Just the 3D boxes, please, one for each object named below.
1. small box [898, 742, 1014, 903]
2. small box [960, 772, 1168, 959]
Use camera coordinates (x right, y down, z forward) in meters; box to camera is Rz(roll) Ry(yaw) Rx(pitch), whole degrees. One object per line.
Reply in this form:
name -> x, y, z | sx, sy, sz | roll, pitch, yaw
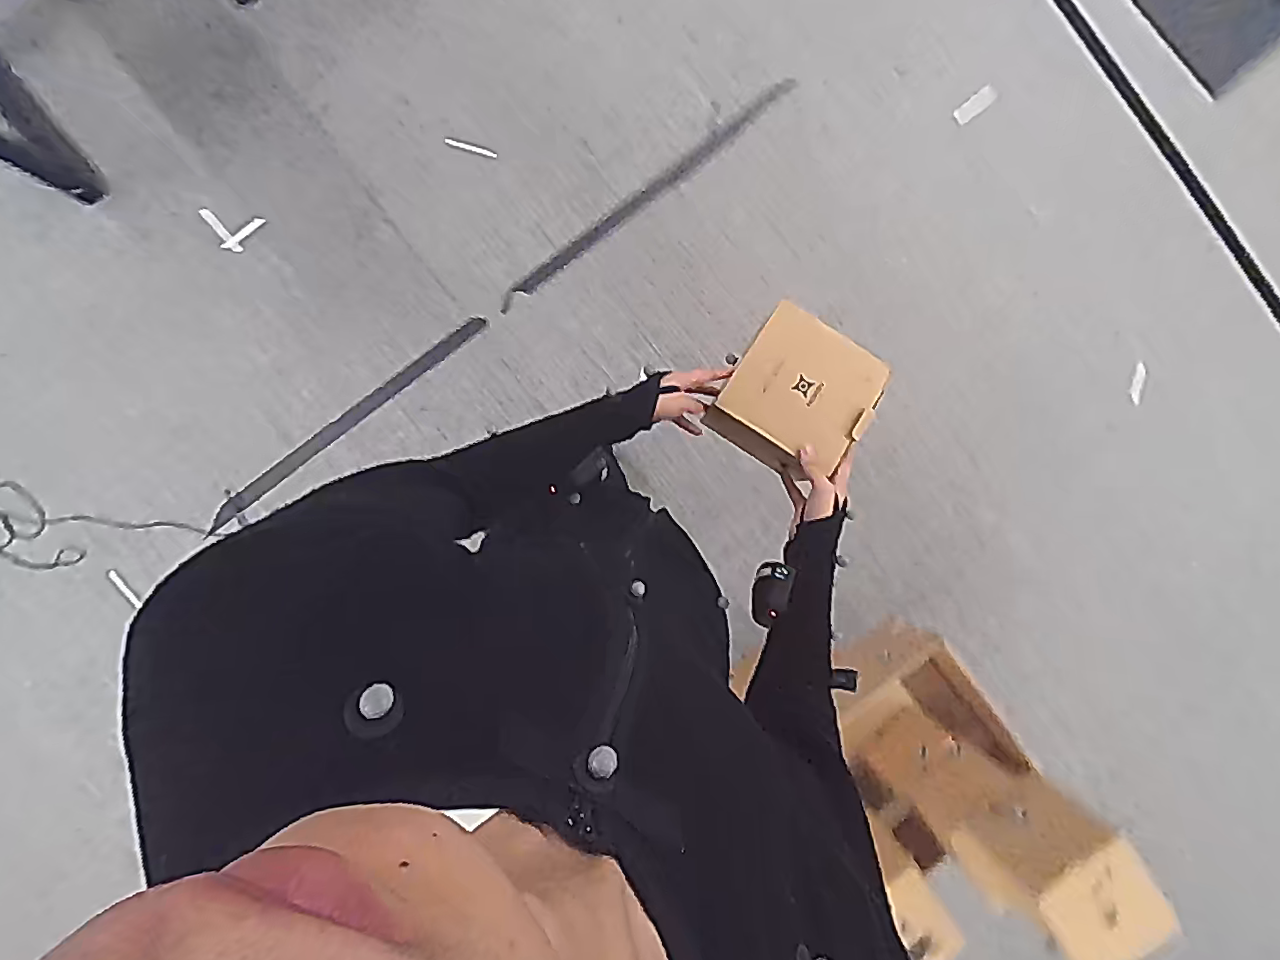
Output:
small box -> 0.645, 0.646, 1.051 | 0.168, 0.176, 0.179 | -34, 94, -2
small box -> 0.680, 0.632, 0.888 | 0.168, 0.176, 0.179 | -33, 93, -2
